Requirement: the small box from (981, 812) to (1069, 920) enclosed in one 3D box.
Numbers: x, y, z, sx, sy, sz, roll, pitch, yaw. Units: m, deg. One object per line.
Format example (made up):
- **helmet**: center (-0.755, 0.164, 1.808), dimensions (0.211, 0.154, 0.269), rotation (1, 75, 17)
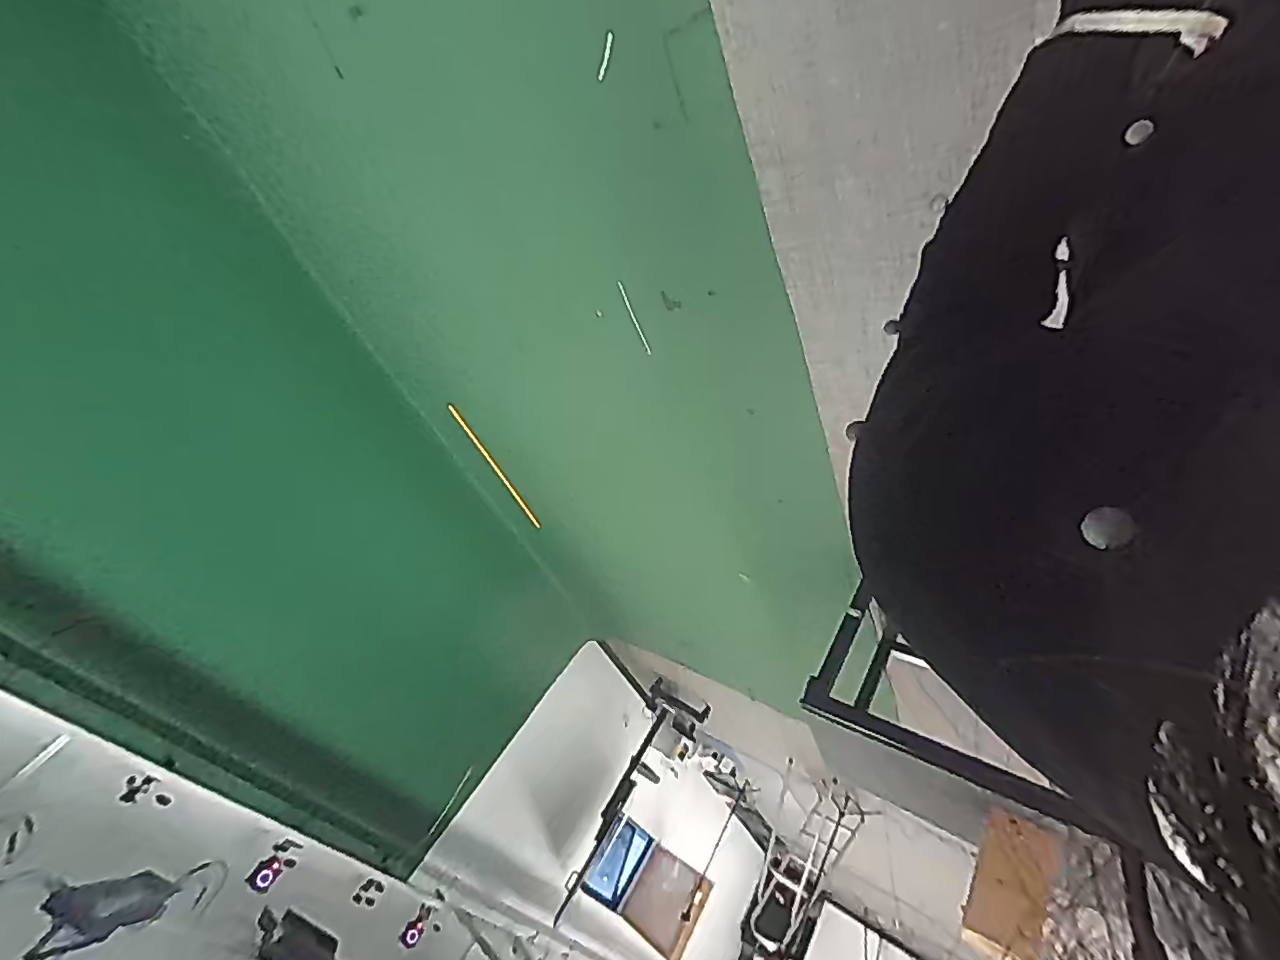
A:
- **small box**: center (1.079, 1.078, 1.517), dimensions (0.168, 0.176, 0.179), rotation (14, 142, 37)
